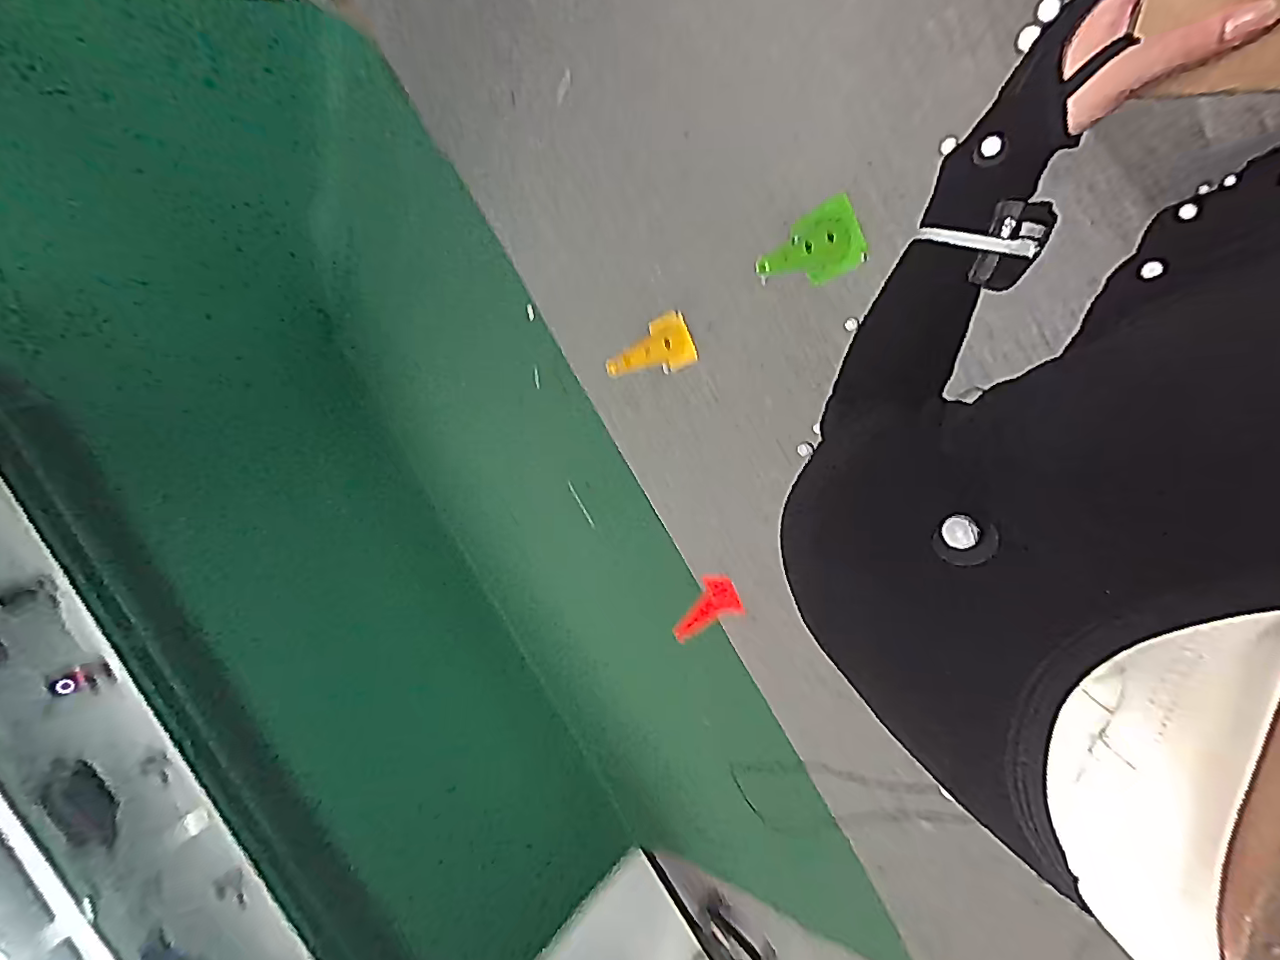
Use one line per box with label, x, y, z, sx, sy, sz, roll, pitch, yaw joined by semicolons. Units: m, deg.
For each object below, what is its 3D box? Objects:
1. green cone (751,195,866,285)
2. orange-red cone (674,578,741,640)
green cone;0.434;-0.632;1.508;0.202;0.368;0.200;-15;104;55
orange-red cone;0.295;0.660;2.639;0.198;0.360;0.199;-13;107;54
